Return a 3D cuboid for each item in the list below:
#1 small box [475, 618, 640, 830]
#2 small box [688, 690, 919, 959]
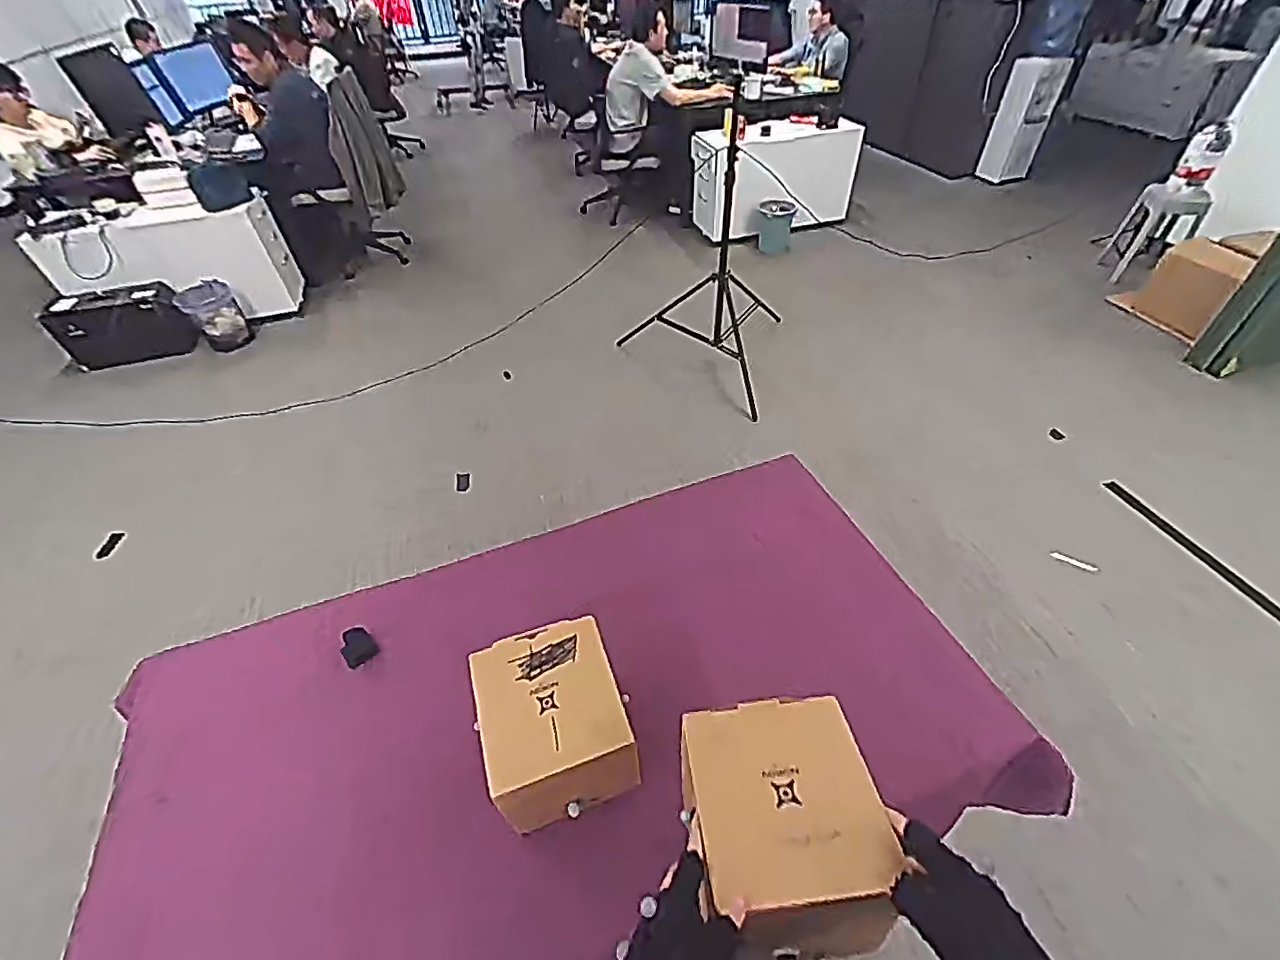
[{"bbox_3d":[-0.105,0.317,0.705,0.168,0.176,0.179,-16,47,-12],"label":"small box"},{"bbox_3d":[0.141,0.344,0.544,0.168,0.176,0.179,-7,35,-2],"label":"small box"}]
